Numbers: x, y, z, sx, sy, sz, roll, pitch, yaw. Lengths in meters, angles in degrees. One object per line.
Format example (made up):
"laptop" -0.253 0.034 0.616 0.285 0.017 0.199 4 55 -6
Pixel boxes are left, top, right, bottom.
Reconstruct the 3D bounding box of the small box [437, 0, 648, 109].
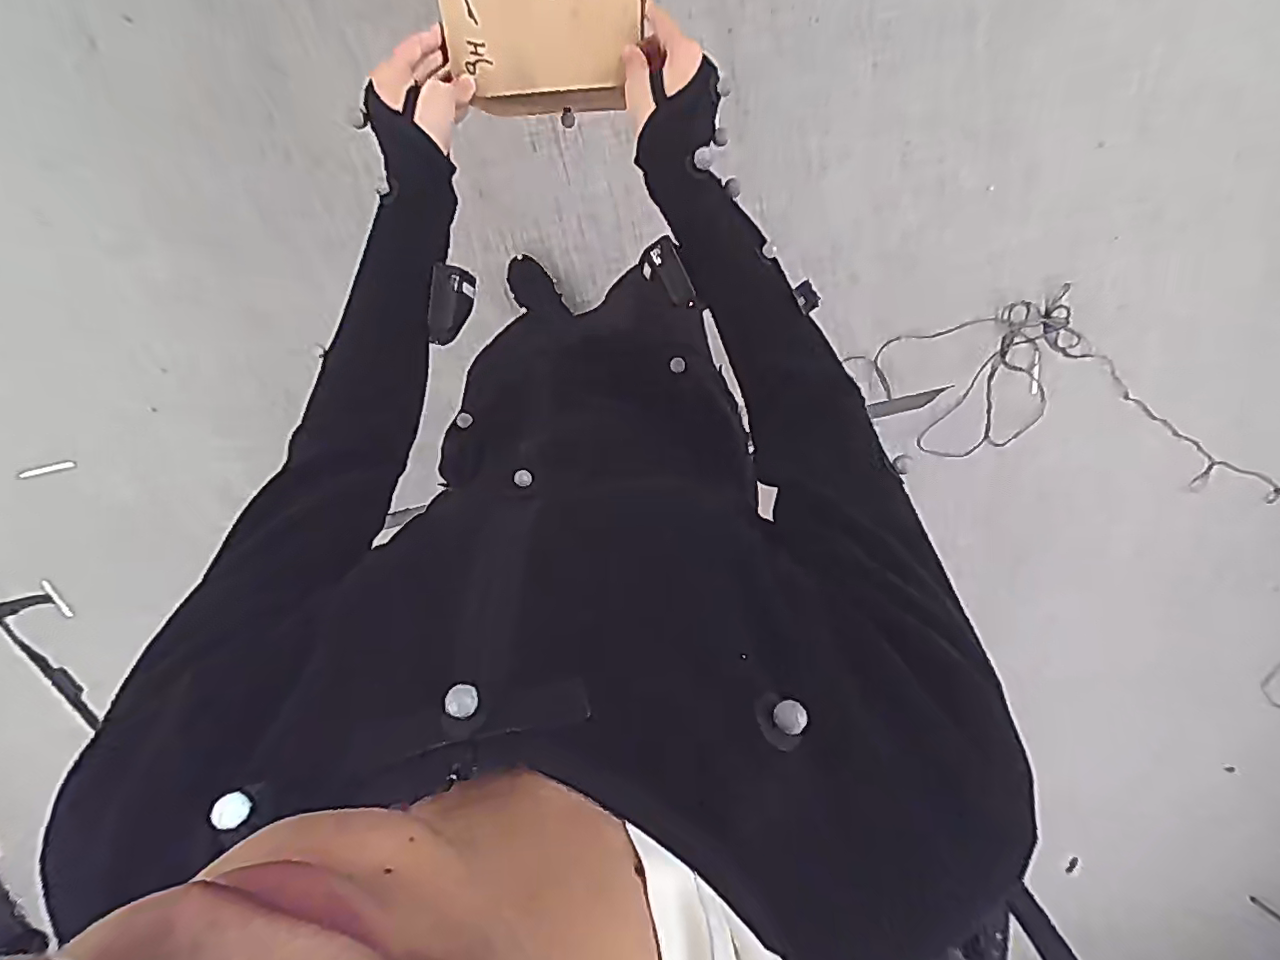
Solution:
"small box" -0.084 -0.458 0.507 0.179 0.176 0.168 -2 119 1
